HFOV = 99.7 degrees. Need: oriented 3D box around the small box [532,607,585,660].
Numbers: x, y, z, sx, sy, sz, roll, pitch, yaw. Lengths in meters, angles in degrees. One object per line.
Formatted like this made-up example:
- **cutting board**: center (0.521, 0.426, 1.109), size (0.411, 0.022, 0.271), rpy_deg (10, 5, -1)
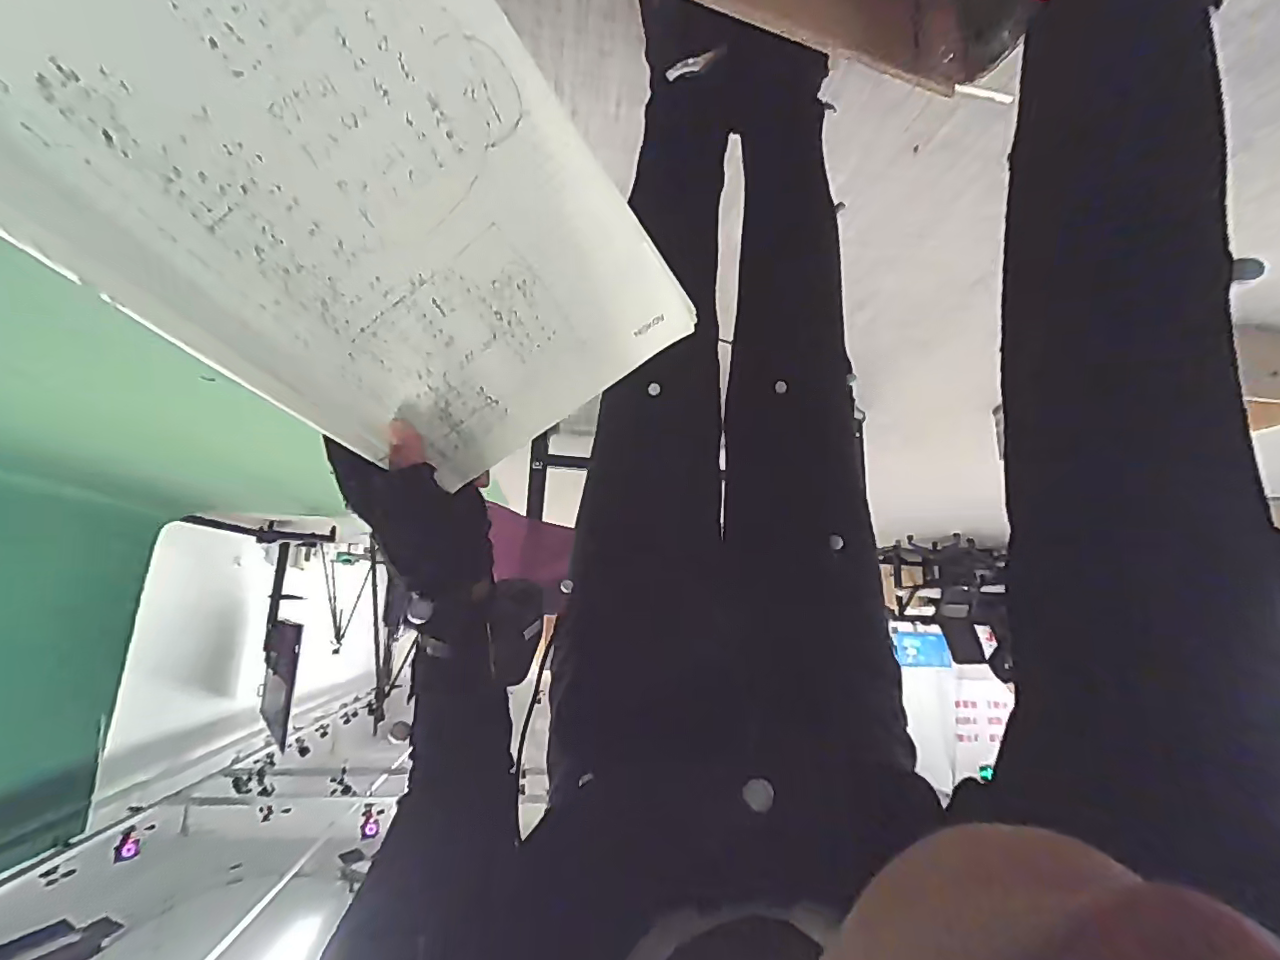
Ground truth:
- **small box**: center (-0.294, 0.548, 1.948), size (0.168, 0.176, 0.179), rpy_deg (5, 167, -16)
